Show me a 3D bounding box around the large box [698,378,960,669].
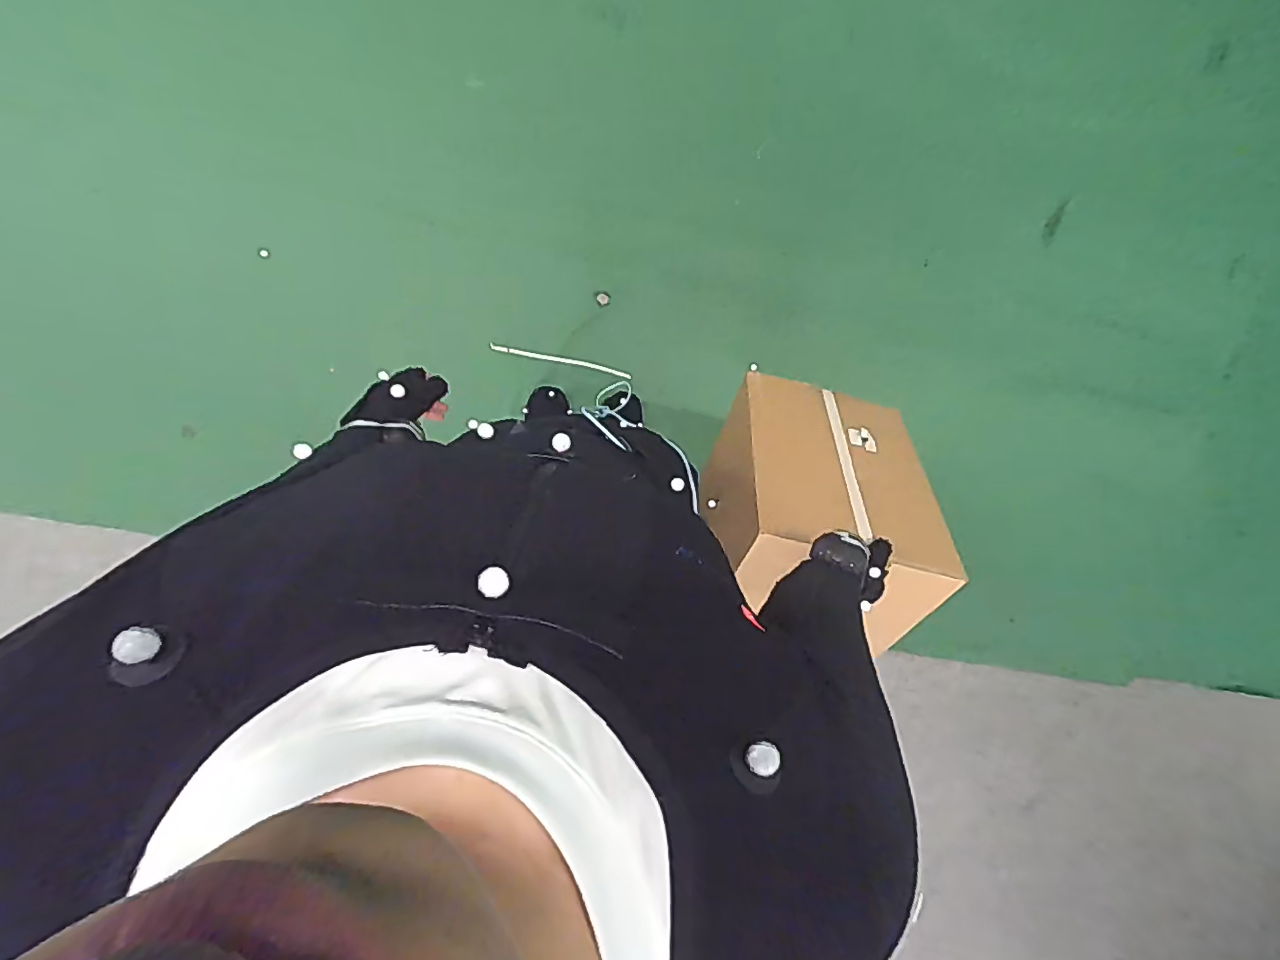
[{"bbox_3d":[0.298,0.078,1.004,0.320,0.408,0.320,14,133,-6],"label":"large box"}]
